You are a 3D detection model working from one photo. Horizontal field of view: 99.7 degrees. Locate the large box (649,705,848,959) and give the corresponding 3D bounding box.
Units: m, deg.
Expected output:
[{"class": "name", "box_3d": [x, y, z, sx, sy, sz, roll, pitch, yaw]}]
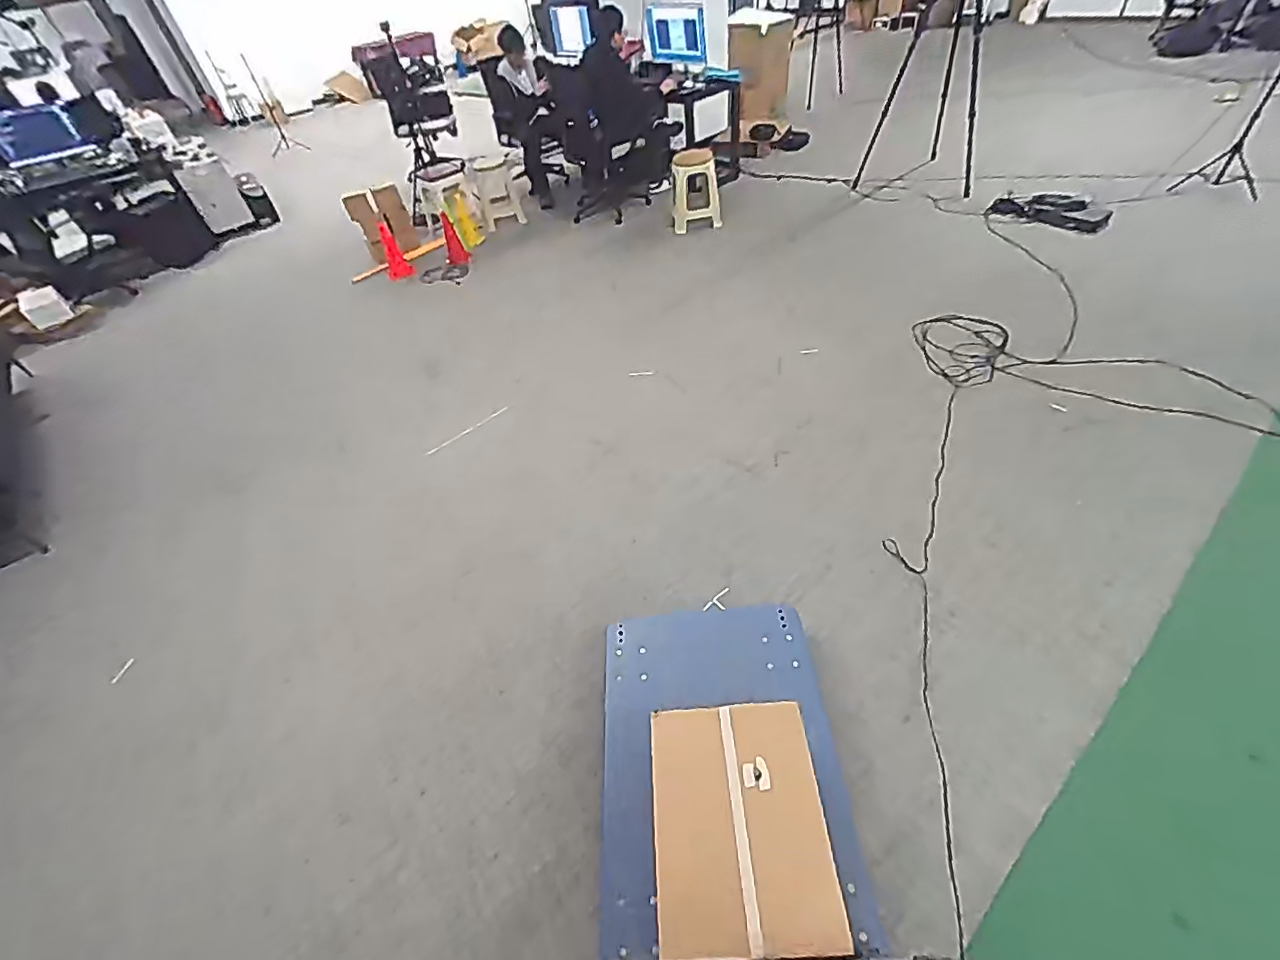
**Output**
[{"class": "large box", "box_3d": [0.198, 0.739, 1.120, 0.320, 0.320, 0.408, -6, 44, 4]}]
